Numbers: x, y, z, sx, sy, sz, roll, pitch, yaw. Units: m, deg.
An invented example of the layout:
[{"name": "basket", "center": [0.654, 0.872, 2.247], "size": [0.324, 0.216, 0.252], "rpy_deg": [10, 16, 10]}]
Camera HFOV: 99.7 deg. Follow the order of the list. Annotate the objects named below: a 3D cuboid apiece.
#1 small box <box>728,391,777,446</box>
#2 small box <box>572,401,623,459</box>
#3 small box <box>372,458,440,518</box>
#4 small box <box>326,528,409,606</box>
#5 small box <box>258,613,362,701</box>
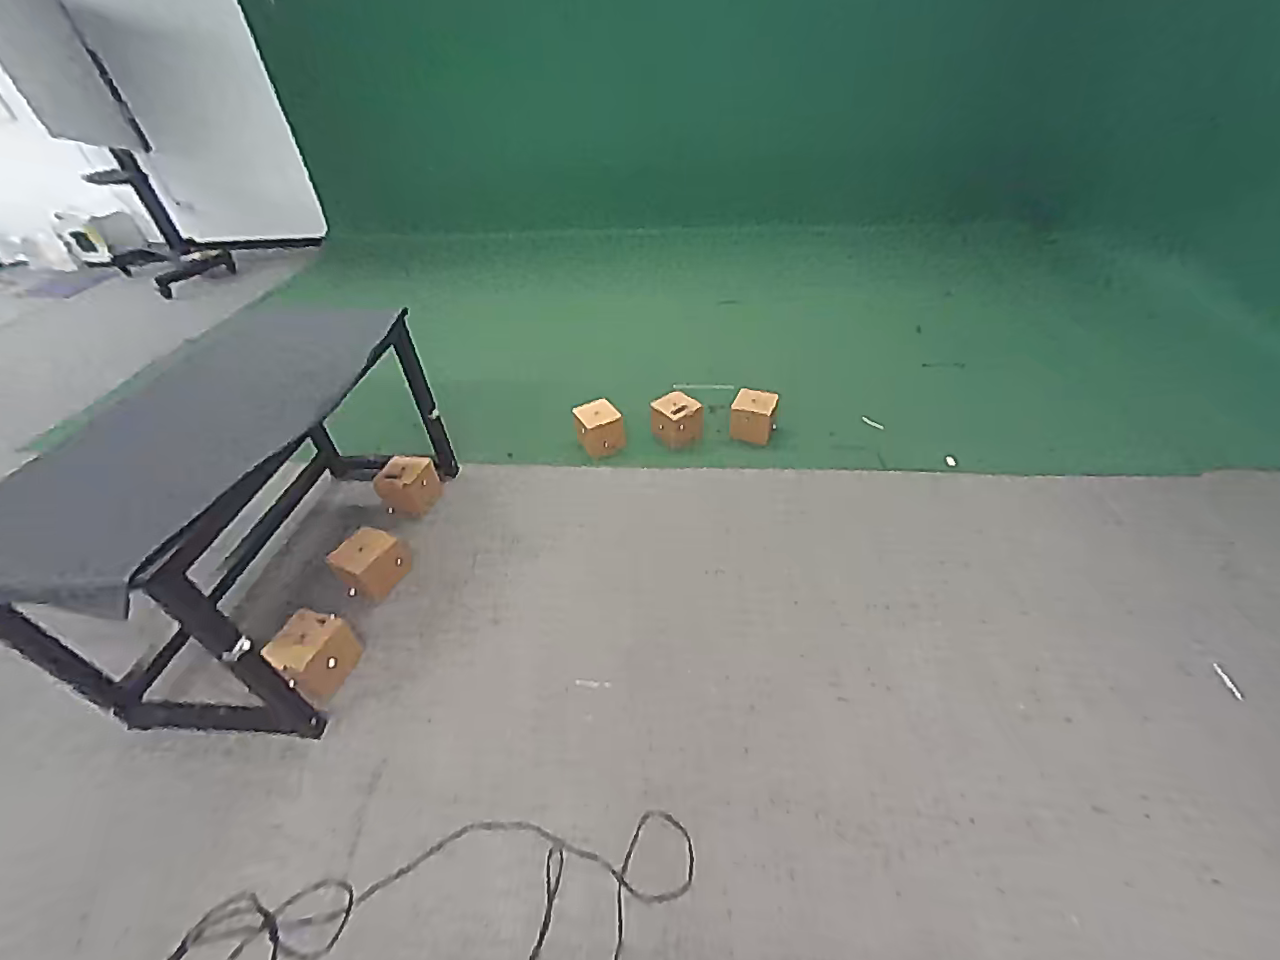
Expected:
[{"name": "small box", "center": [0.499, -0.272, 2.411], "size": [0.179, 0.176, 0.168], "rpy_deg": [15, 45, 20]}, {"name": "small box", "center": [-0.189, -0.221, 2.414], "size": [0.168, 0.176, 0.179], "rpy_deg": [-23, 45, -21]}, {"name": "small box", "center": [-0.933, 0.035, 2.178], "size": [0.168, 0.176, 0.179], "rpy_deg": [5, 41, 9]}, {"name": "small box", "center": [-0.930, 0.303, 1.872], "size": [0.168, 0.176, 0.179], "rpy_deg": [14, 46, 21]}, {"name": "small box", "center": [-0.973, 0.531, 1.614], "size": [0.168, 0.176, 0.179], "rpy_deg": [9, 44, 15]}]
